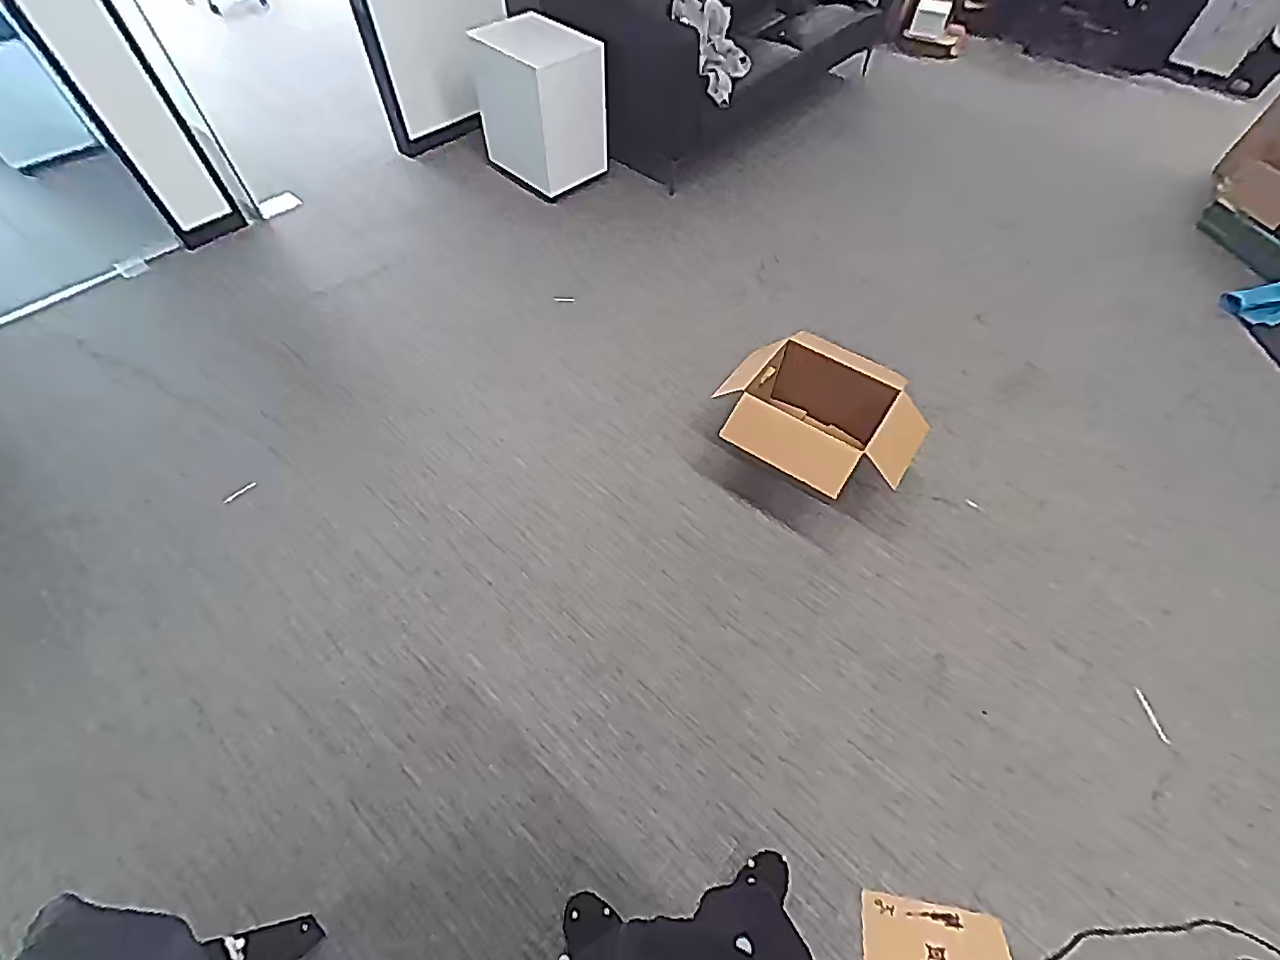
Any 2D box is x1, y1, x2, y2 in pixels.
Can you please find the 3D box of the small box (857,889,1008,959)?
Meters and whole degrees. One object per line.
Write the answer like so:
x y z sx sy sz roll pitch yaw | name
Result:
0.349 0.644 0.637 0.168 0.179 0.176 -3 93 22 | small box
